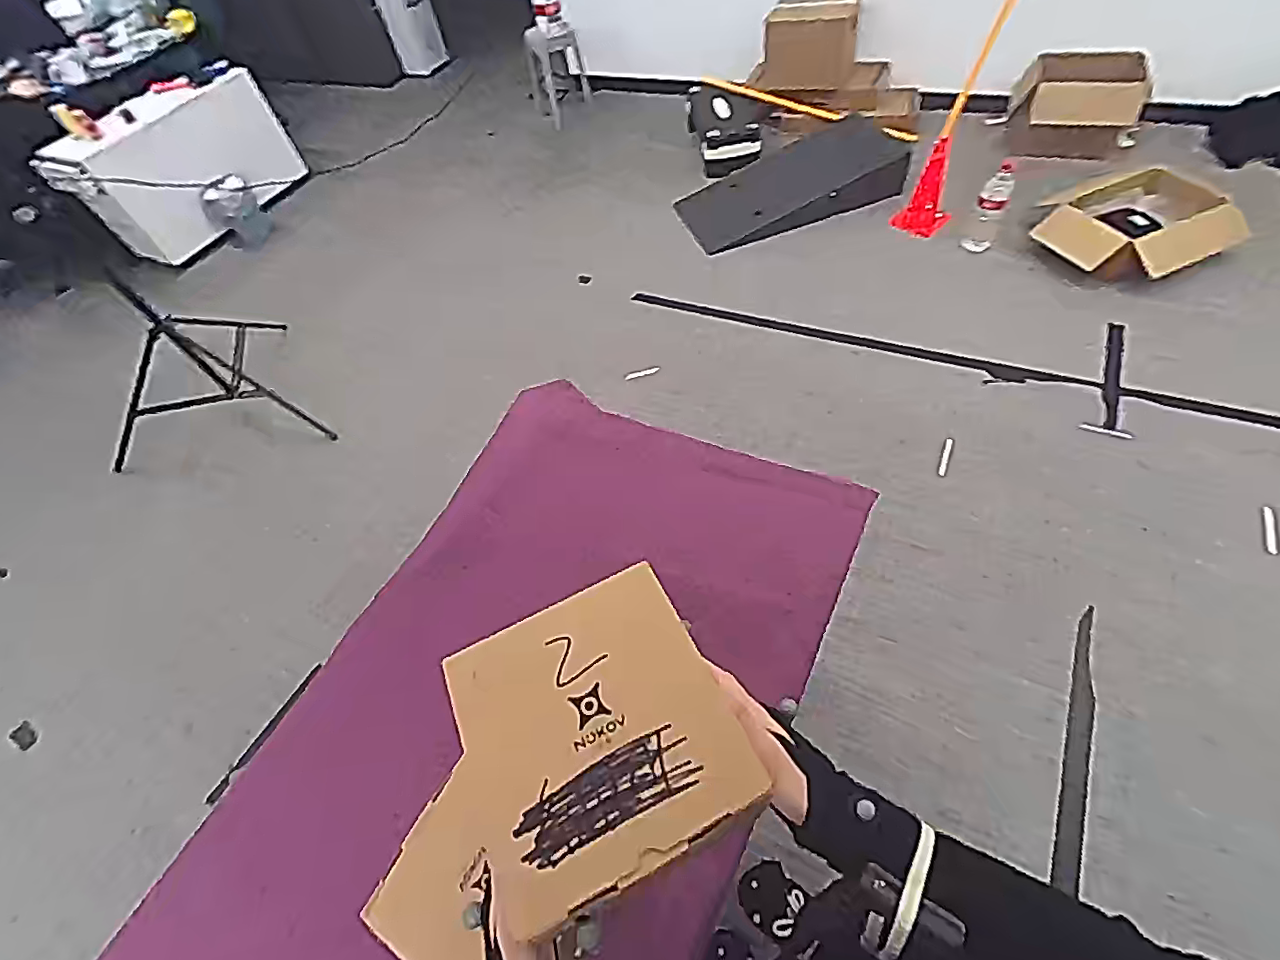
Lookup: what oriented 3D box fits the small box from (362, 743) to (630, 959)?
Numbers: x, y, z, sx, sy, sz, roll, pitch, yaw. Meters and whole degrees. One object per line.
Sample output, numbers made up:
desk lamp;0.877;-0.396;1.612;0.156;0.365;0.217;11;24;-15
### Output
small box;-0.131;0.406;0.557;0.179;0.176;0.168;21;62;22
